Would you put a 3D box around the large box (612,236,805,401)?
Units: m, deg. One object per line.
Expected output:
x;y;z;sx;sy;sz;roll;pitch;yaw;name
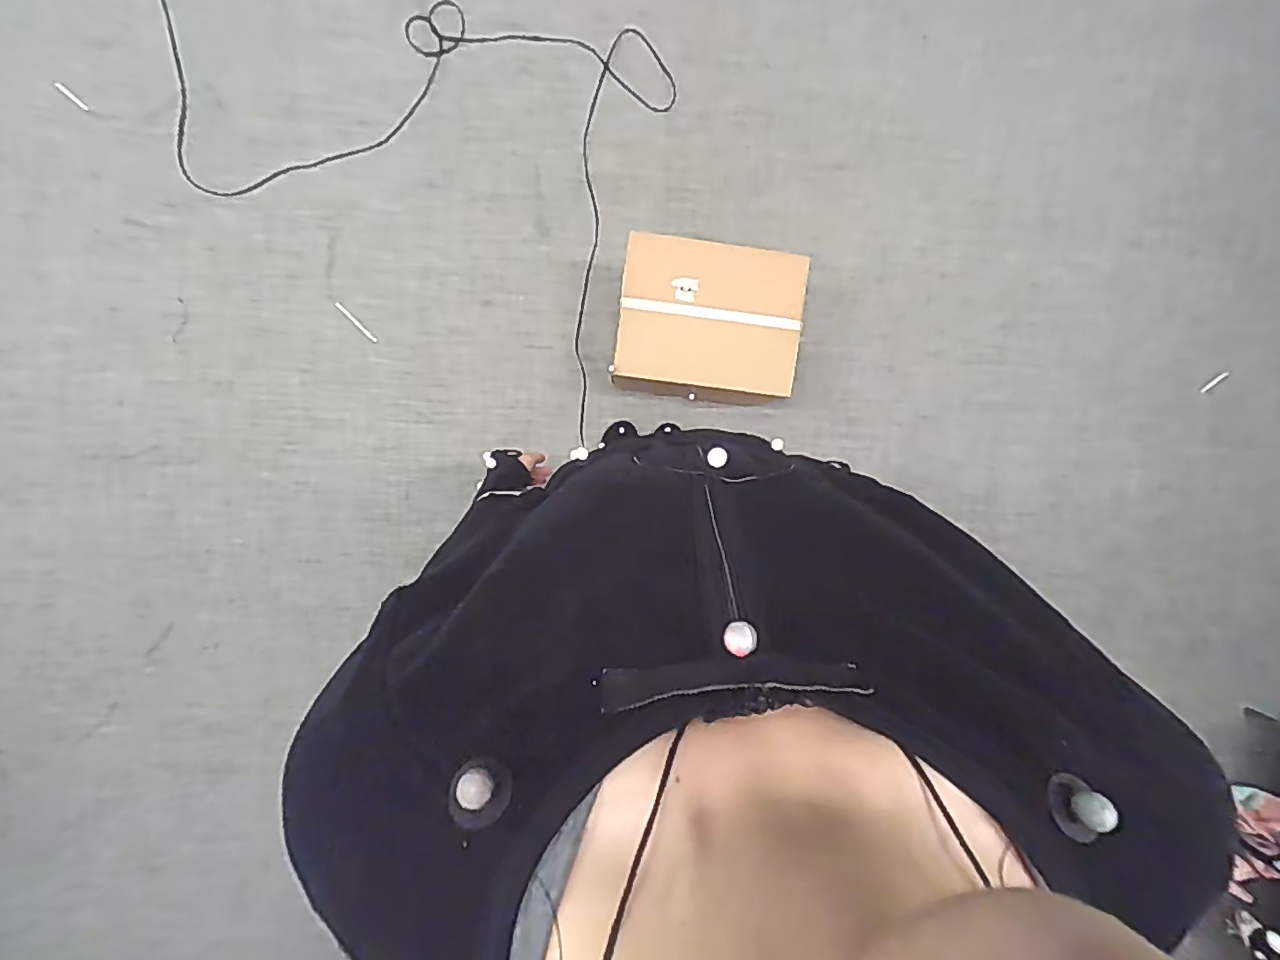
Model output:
0.150;-0.375;1.344;0.408;0.320;0.320;7;94;-2;large box
